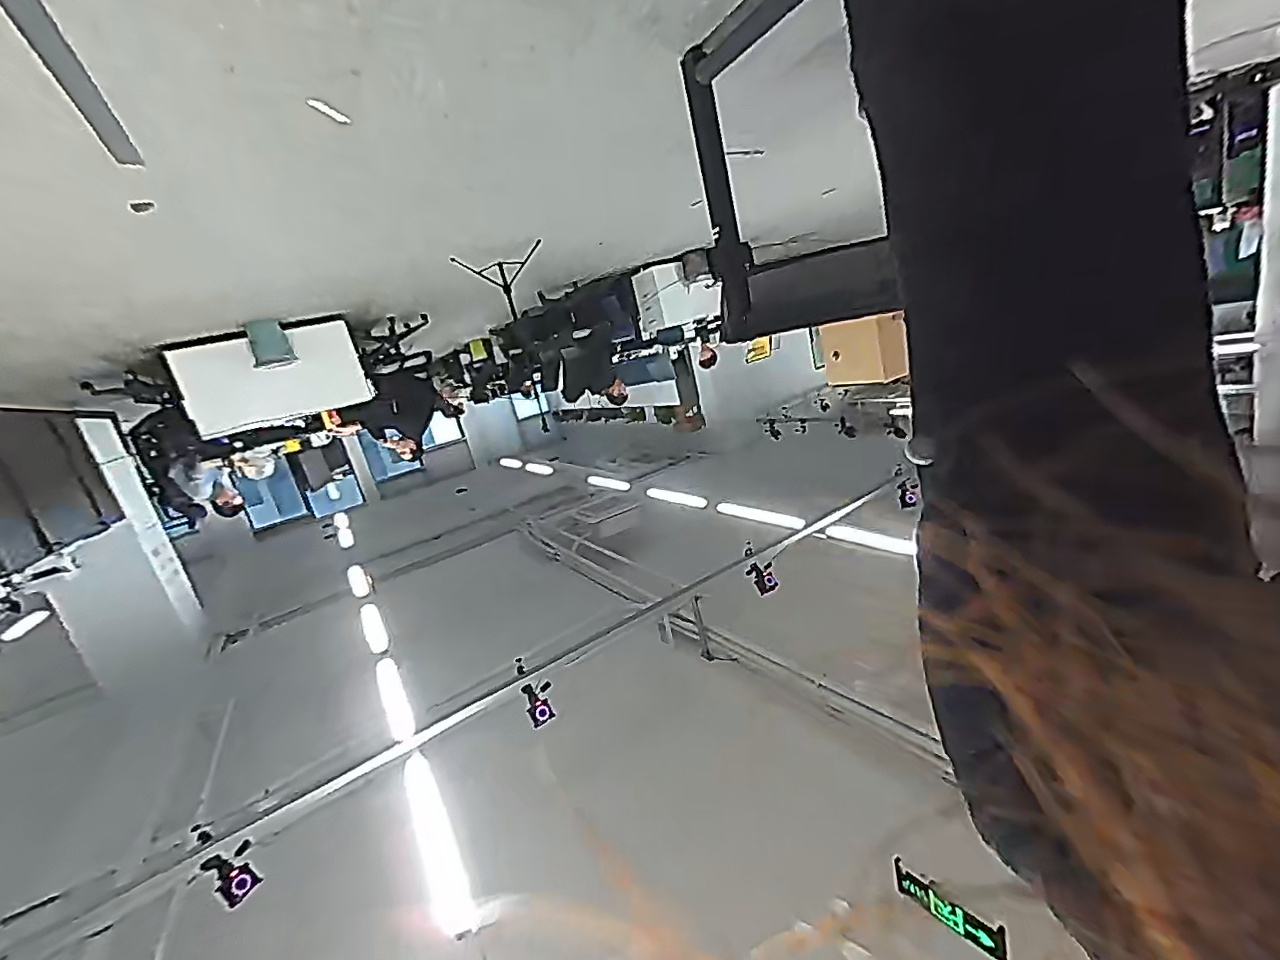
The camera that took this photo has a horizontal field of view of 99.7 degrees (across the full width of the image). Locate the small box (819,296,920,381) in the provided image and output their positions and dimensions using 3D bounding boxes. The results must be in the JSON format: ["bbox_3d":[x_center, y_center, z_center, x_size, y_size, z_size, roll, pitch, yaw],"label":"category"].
[{"bbox_3d":[0.570,-0.354,1.356,0.168,0.176,0.179,-22,-163,-24],"label":"small box"}]
